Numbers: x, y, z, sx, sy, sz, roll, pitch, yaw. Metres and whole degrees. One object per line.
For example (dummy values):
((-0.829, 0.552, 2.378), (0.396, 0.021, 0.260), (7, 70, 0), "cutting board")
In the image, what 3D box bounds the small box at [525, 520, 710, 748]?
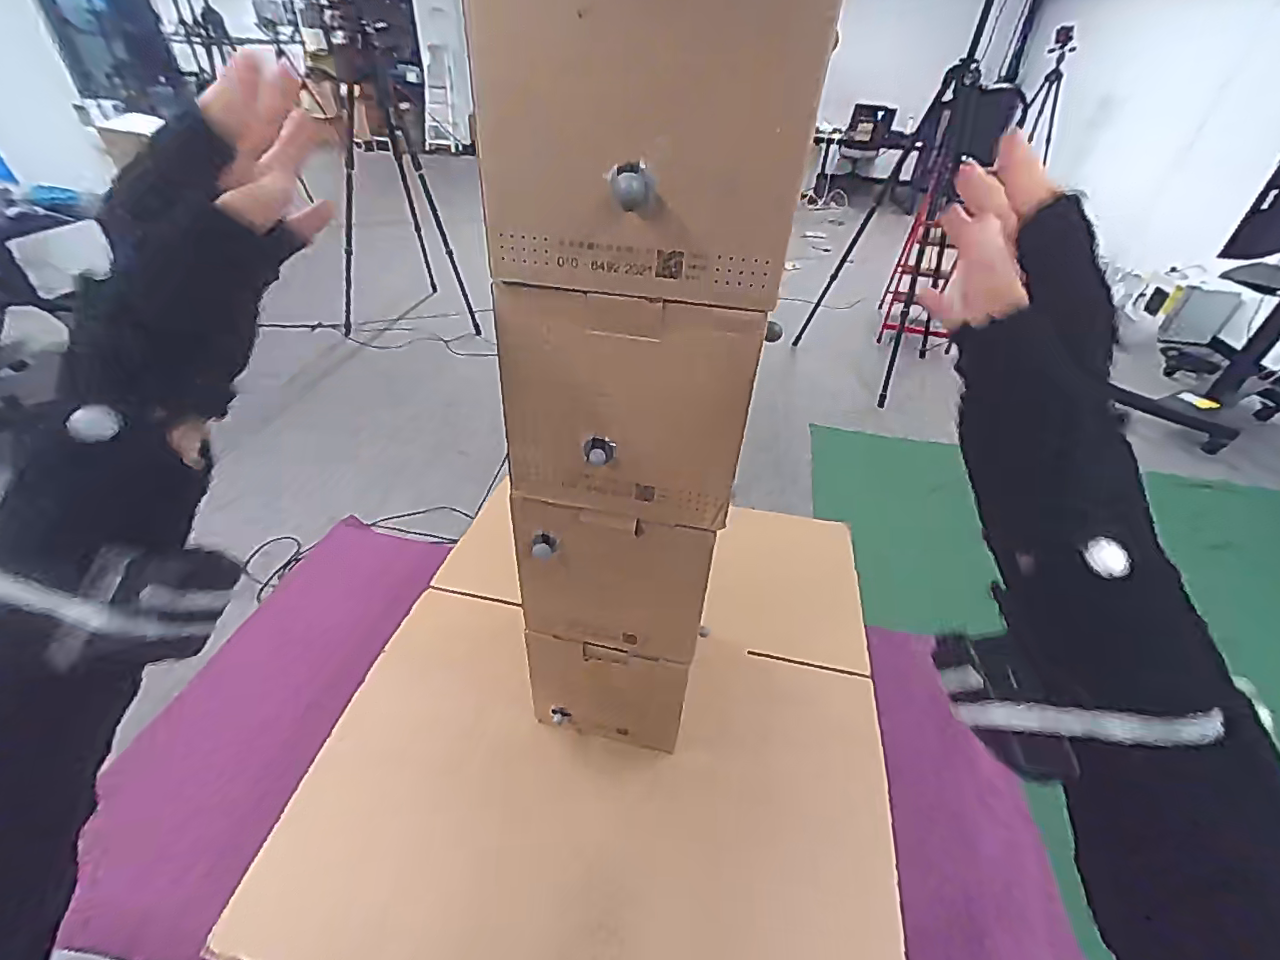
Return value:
((-0.018, 0.176, 0.627), (0.168, 0.176, 0.179), (10, 37, 8), "small box")

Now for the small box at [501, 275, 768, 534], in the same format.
((0.003, -0.085, 0.430), (0.168, 0.176, 0.179), (9, 37, 6), "small box")

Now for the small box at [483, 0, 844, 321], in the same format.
((0.013, -0.215, 0.330), (0.168, 0.176, 0.179), (8, 38, 5), "small box")
